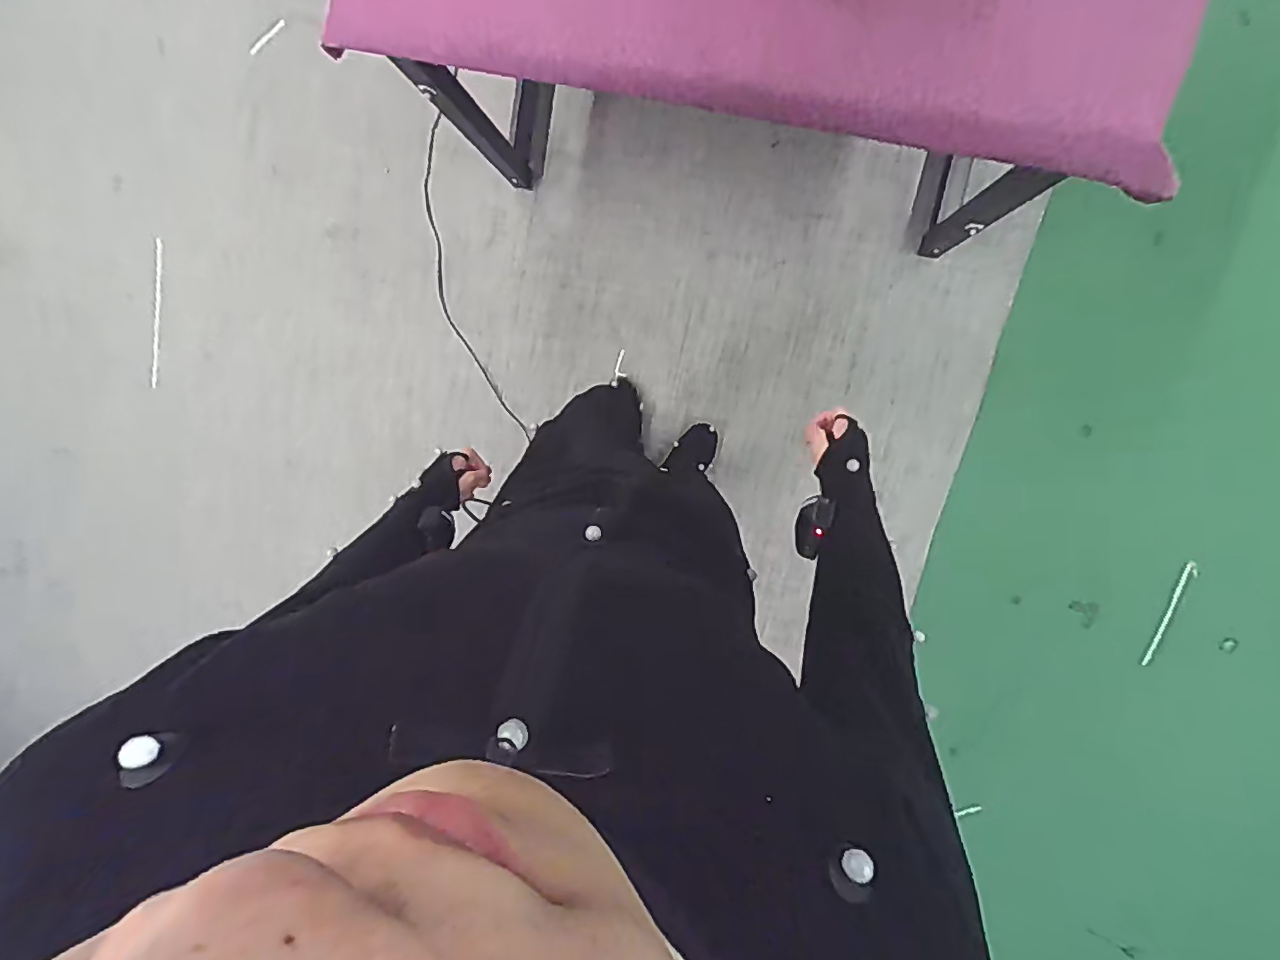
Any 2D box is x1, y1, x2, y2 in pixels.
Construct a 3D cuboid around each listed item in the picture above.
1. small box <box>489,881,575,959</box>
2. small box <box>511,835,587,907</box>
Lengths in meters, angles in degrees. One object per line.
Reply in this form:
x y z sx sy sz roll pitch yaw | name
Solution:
-0.281 1.187 1.376 0.168 0.176 0.179 21 103 4 | small box
-0.263 1.170 1.539 0.168 0.176 0.179 18 102 5 | small box
